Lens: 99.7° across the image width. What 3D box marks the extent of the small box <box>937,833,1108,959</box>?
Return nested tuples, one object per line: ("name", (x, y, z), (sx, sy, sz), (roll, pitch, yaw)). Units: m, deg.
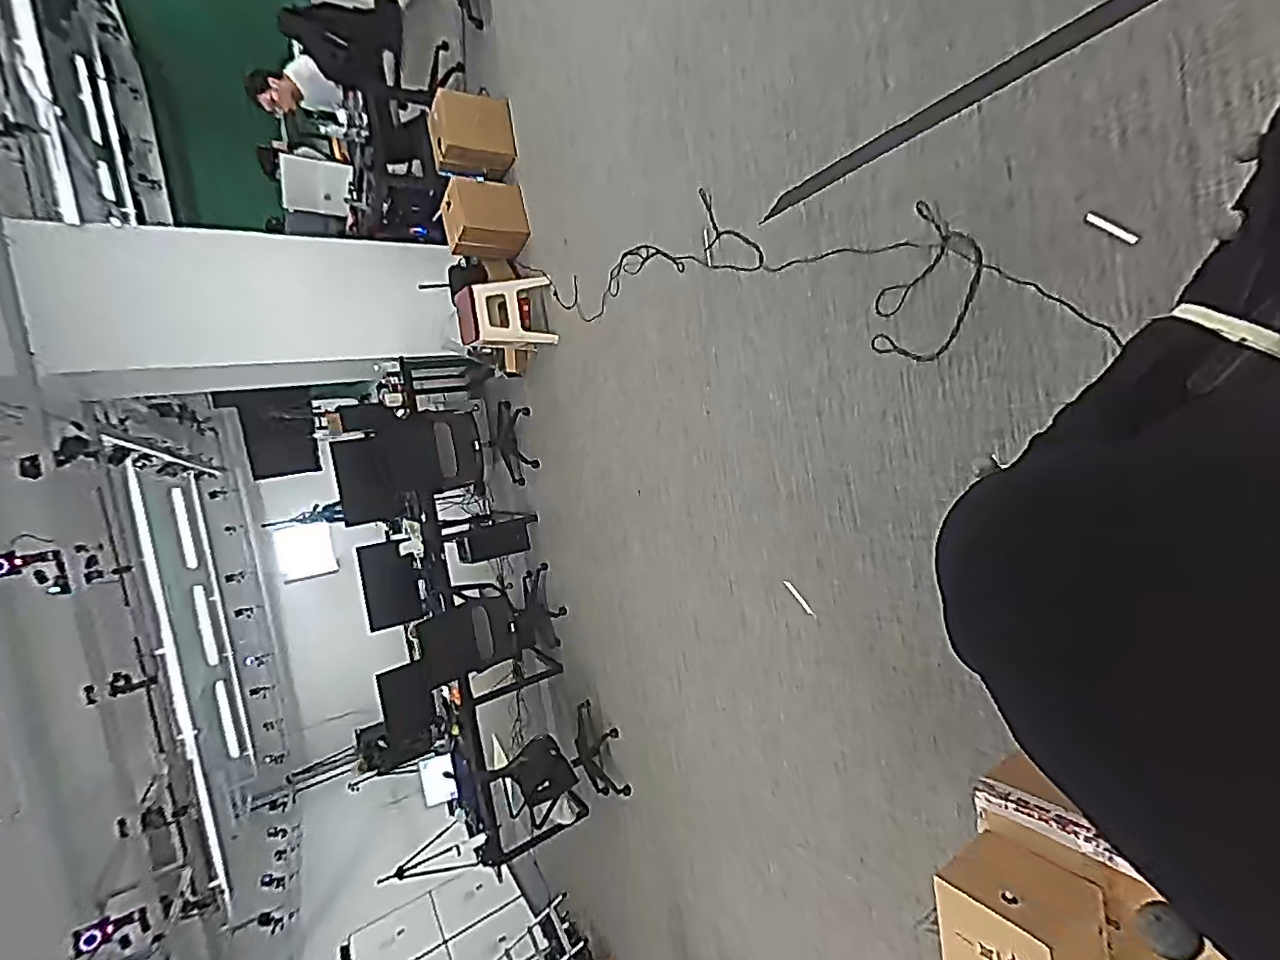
("small box", (0.620, 0.719, 0.875), (0.179, 0.176, 0.168), (-3, 95, 61))
